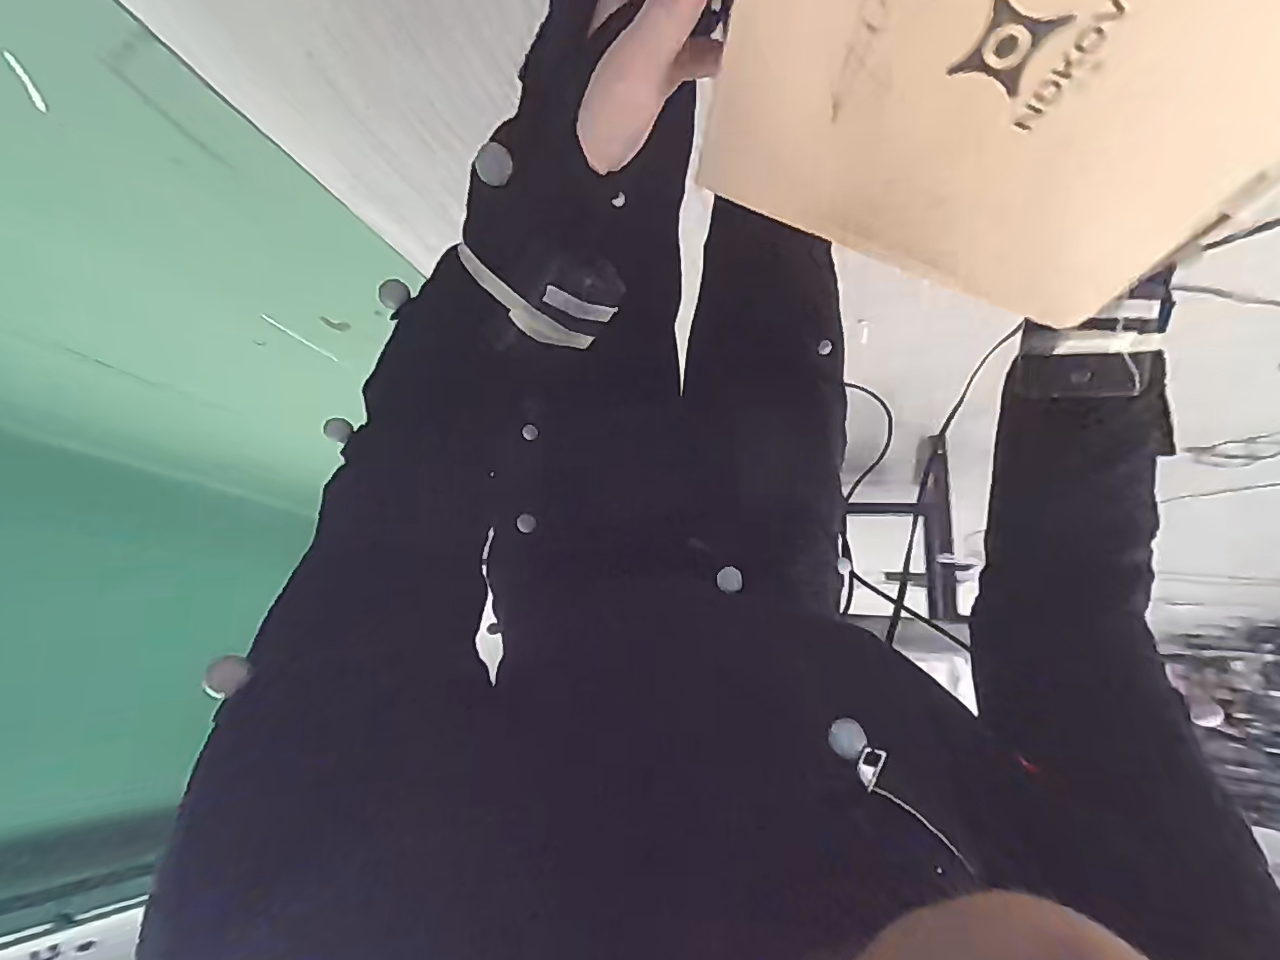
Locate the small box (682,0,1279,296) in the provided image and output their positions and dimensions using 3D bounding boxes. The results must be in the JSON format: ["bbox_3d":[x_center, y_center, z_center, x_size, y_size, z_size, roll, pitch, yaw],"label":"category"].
[{"bbox_3d":[0.134,-0.207,0.191,0.179,0.176,0.168,23,158,6],"label":"small box"}]
